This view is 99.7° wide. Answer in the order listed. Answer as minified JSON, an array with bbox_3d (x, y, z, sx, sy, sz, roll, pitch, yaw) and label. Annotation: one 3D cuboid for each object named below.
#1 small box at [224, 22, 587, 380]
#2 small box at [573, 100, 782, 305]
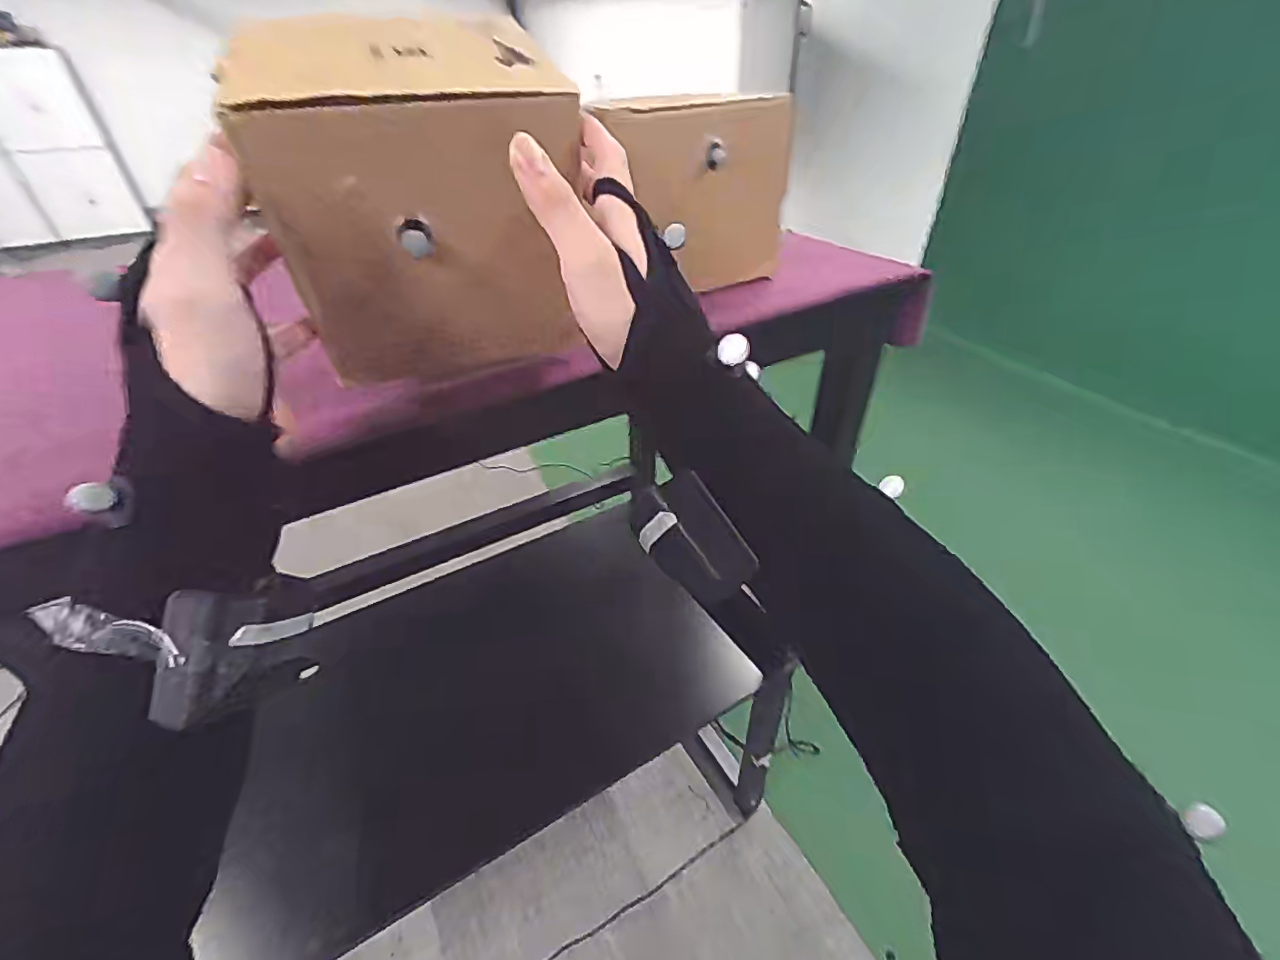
[{"bbox_3d":[-0.143,-0.192,0.380,0.179,0.176,0.168,-15,54,-14],"label":"small box"},{"bbox_3d":[0.030,-0.303,0.587,0.179,0.176,0.168,-19,40,-20],"label":"small box"}]
